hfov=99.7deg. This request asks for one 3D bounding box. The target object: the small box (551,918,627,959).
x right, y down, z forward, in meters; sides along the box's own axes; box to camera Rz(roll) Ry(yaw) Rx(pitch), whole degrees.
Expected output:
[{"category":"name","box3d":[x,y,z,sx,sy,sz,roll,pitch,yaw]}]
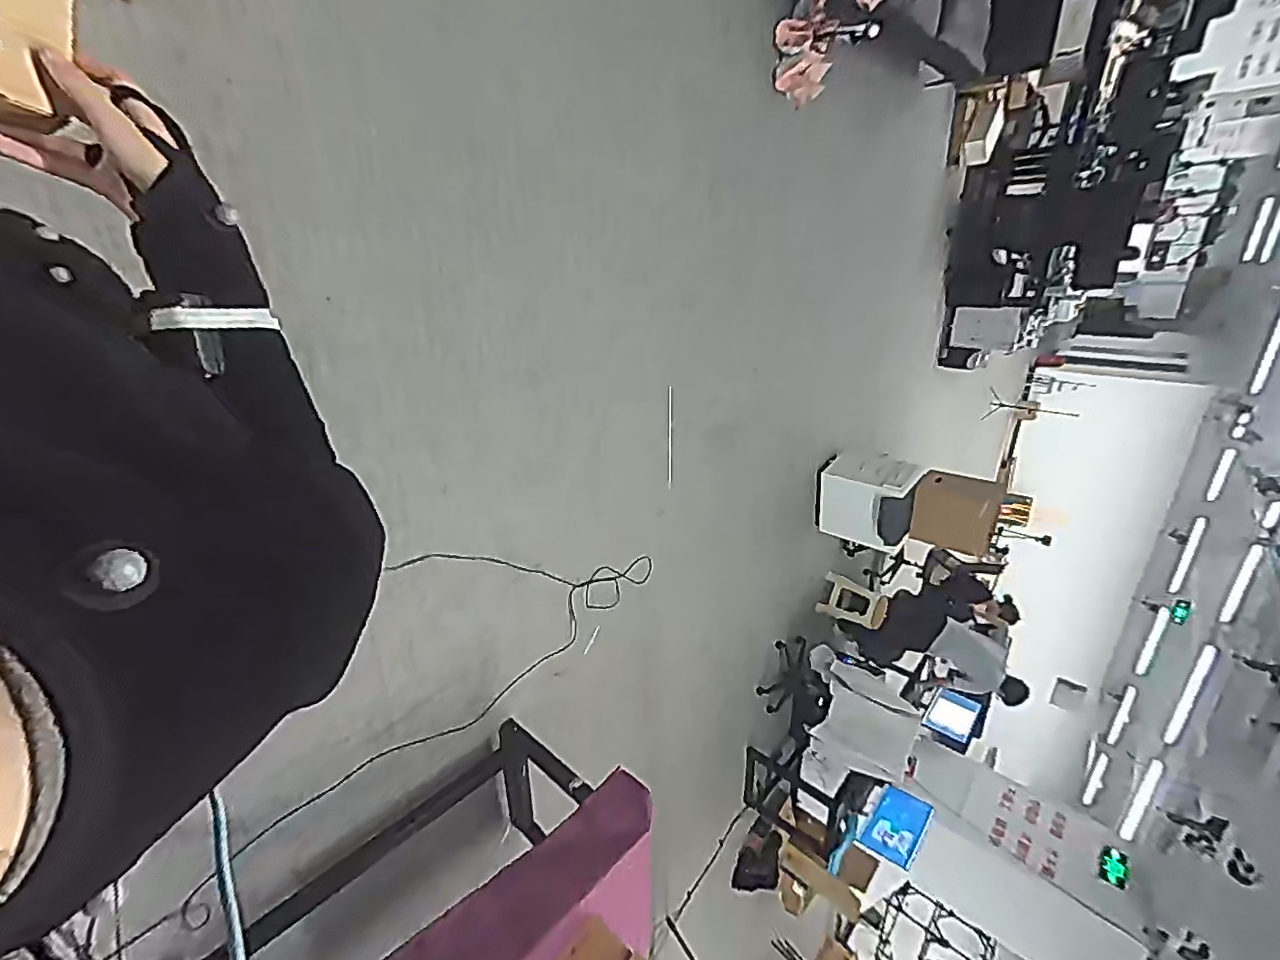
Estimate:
[{"category":"small box","box3d":[-0.139,1.392,1.519,0.168,0.176,0.179,-29,125,-39]}]
